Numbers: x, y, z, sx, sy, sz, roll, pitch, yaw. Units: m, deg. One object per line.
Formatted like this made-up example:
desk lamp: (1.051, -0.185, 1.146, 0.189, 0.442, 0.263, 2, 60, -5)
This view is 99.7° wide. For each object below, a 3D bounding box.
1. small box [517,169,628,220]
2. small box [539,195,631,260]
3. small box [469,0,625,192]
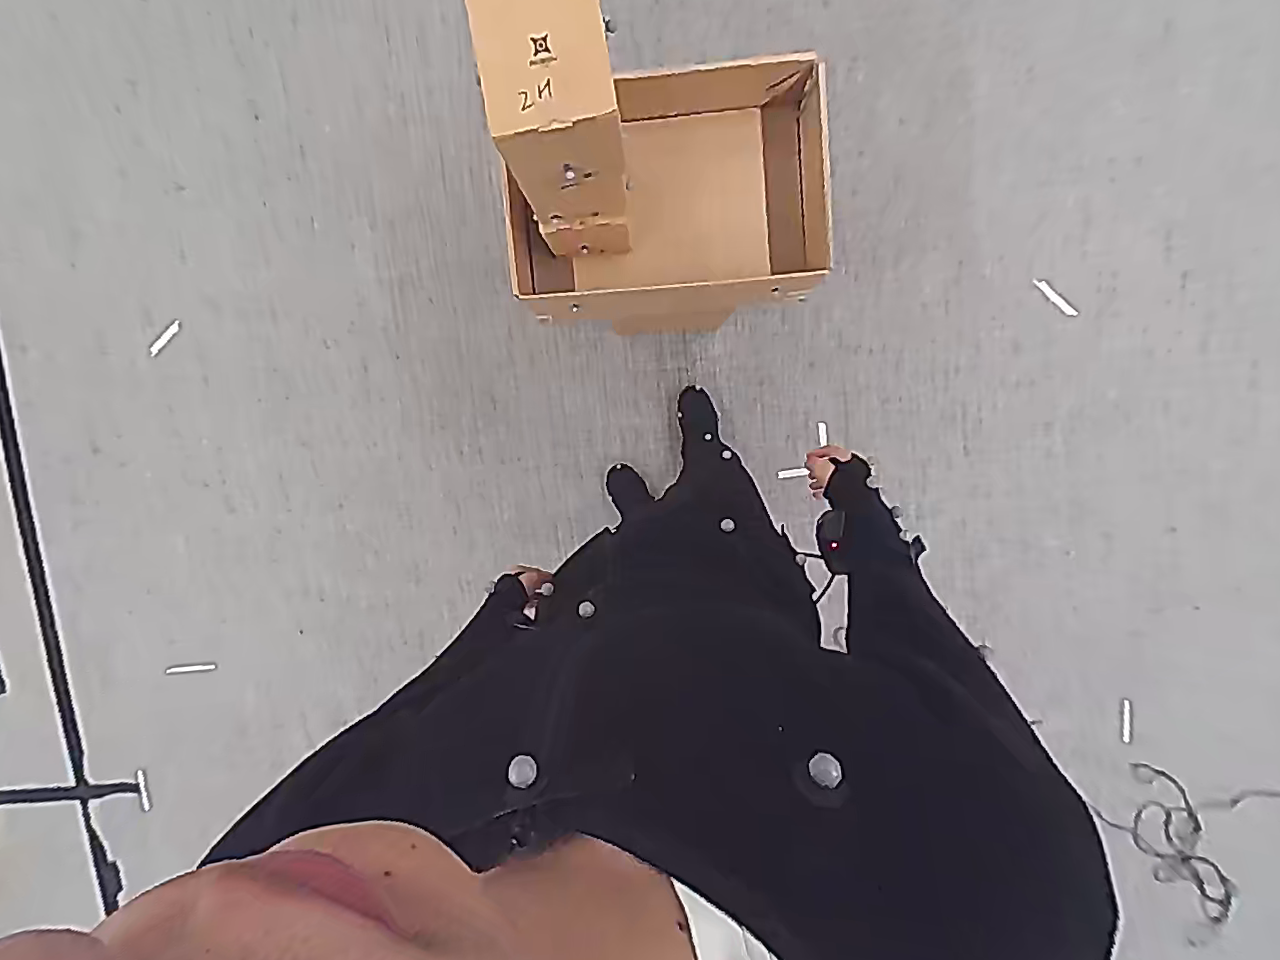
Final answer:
small box: (-0.112, -0.557, 0.909, 0.168, 0.176, 0.179, -6, 95, 2)
small box: (-0.109, -0.560, 1.073, 0.168, 0.176, 0.179, -6, 96, 3)
small box: (-0.116, -0.533, 0.746, 0.168, 0.176, 0.179, -10, 96, 3)
